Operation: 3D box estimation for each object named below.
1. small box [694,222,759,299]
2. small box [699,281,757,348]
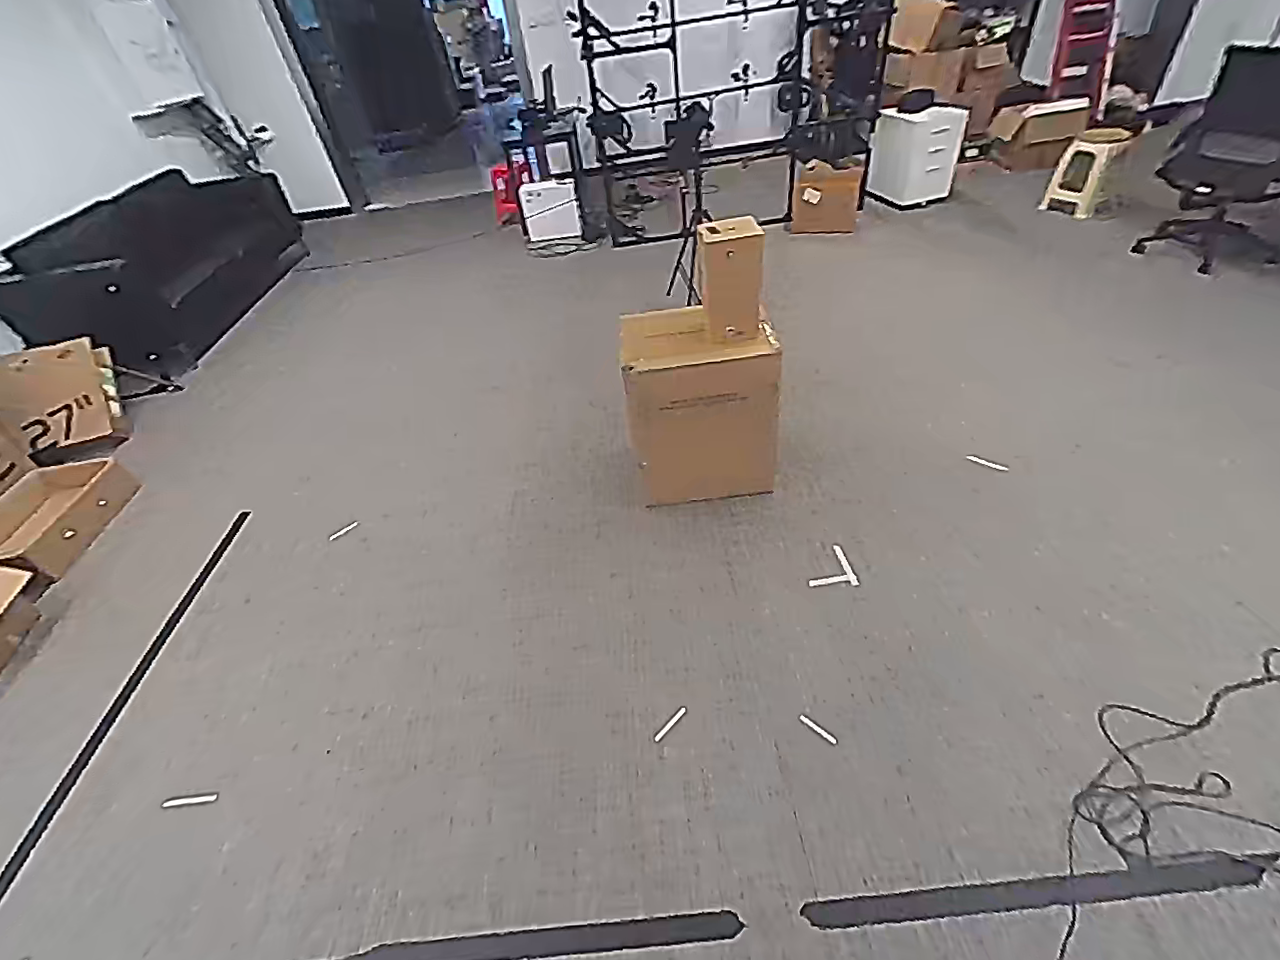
[{"bbox_3d":[0.273,-0.684,1.698,0.179,0.176,0.168,-8,42,3],"label":"small box"},{"bbox_3d":[0.293,-0.564,1.809,0.168,0.176,0.179,-9,43,3],"label":"small box"}]
